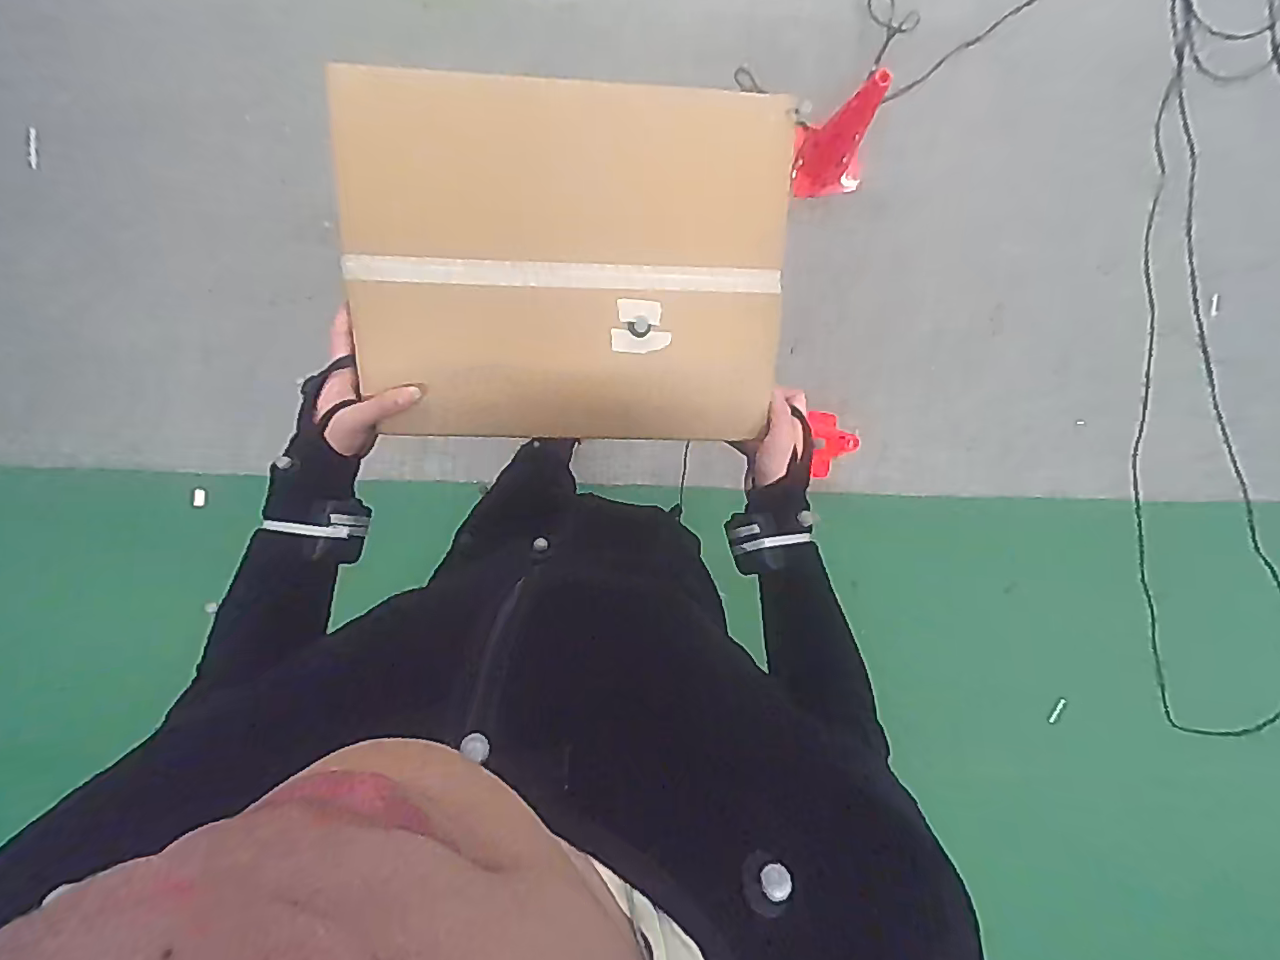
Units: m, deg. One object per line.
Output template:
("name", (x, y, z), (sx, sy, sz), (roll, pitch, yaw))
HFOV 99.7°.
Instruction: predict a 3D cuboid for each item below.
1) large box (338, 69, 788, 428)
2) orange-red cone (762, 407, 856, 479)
("large box", (-0.079, -0.242, 0.659), (0.408, 0.320, 0.320), (0, 106, -5))
("orange-red cone", (0.488, -0.097, 1.459), (0.199, 0.360, 0.198), (9, 94, -5))
